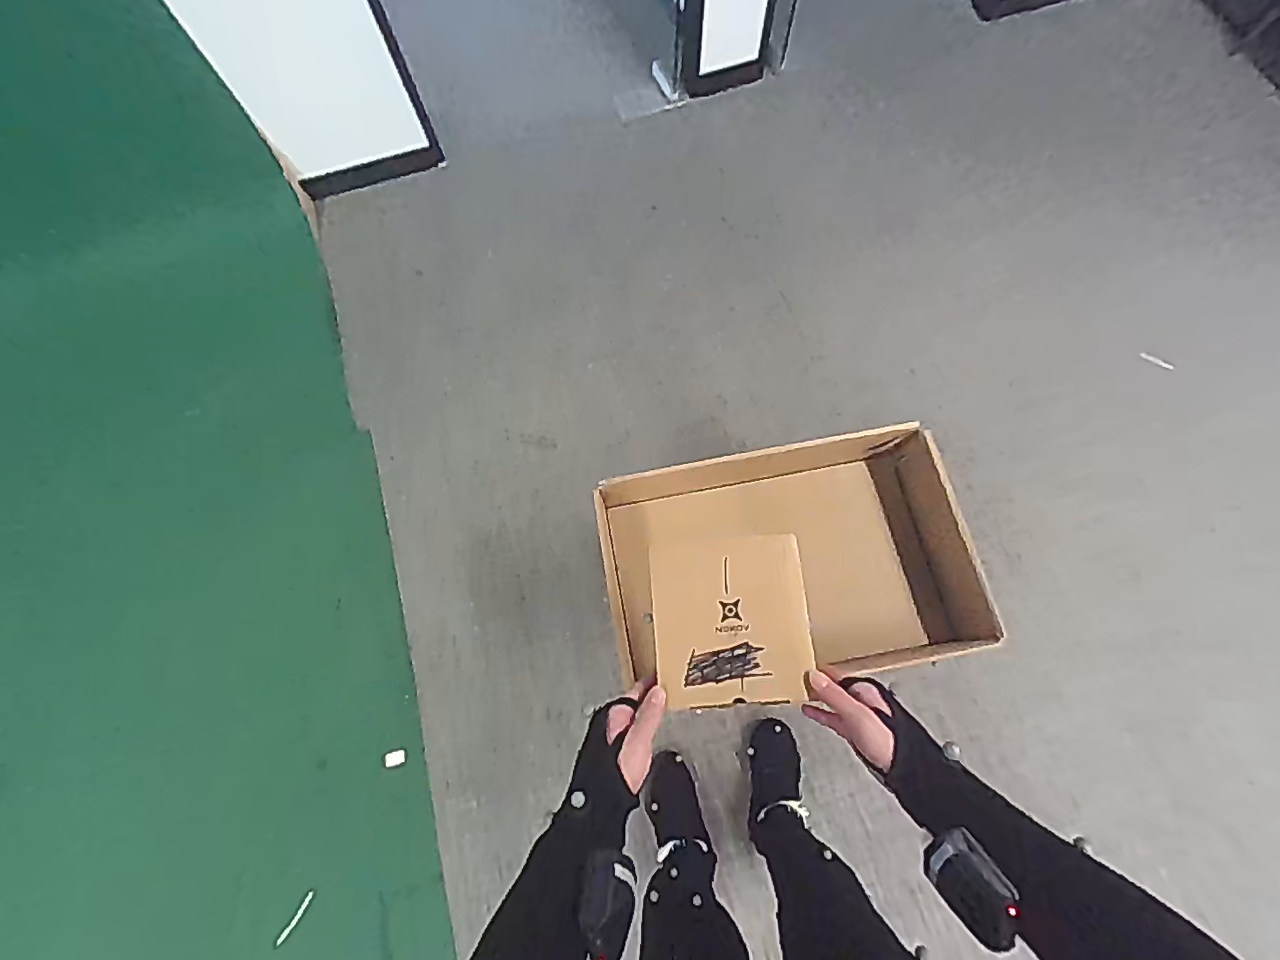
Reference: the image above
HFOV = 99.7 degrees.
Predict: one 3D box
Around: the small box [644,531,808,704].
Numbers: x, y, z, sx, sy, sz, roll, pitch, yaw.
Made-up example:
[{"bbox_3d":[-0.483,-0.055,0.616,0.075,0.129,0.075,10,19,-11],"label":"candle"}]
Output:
[{"bbox_3d":[0.097,0.164,0.661,0.168,0.176,0.179,-5,75,4],"label":"small box"}]
